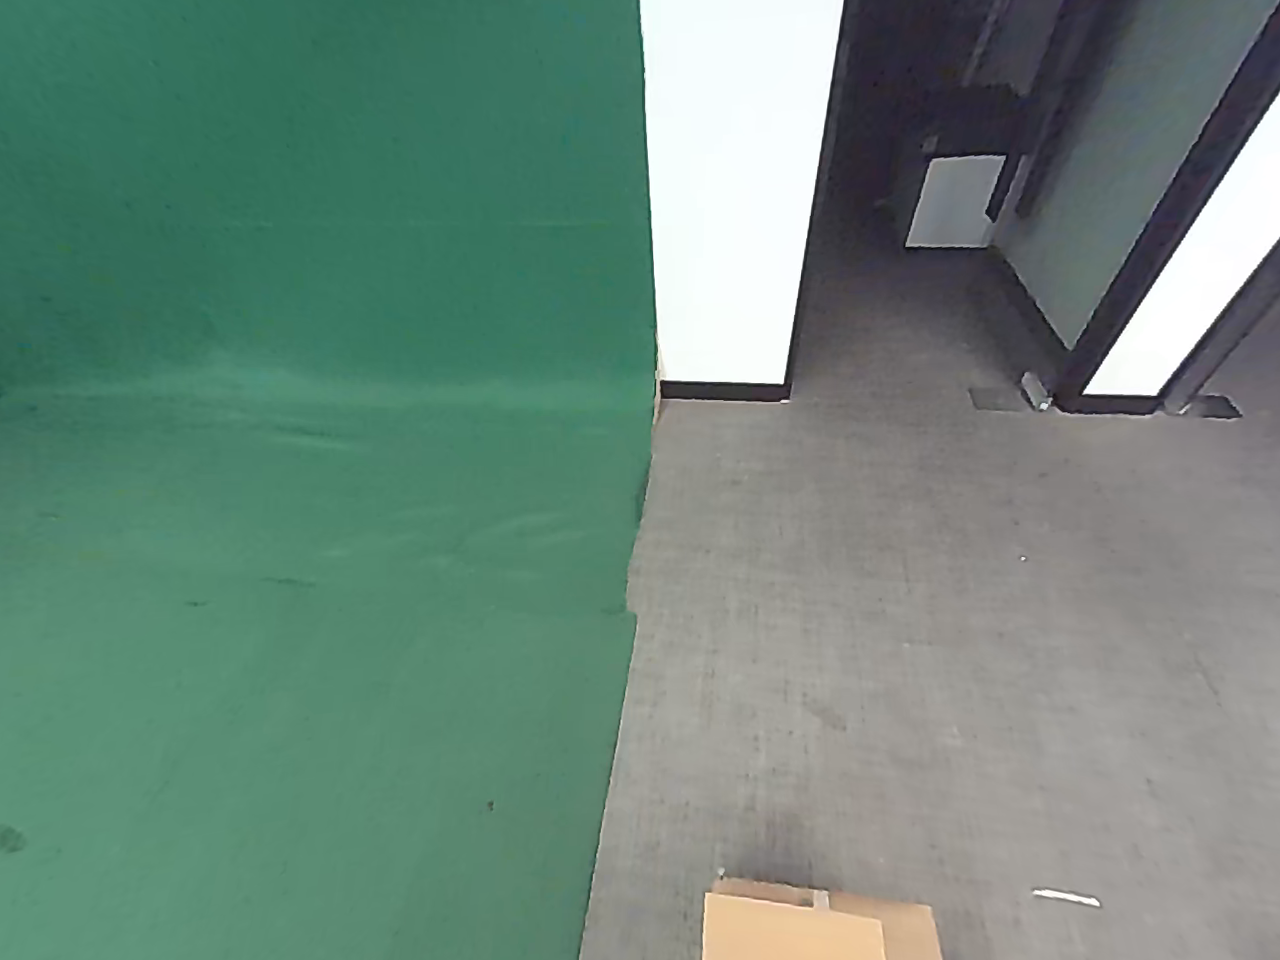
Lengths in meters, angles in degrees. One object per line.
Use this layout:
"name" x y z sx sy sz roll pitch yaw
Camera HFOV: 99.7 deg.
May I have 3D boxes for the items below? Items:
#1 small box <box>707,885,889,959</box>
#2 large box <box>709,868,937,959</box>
"small box" 0.146 0.523 0.523 0.168 0.176 0.179 0 46 10
"large box" 0.255 0.843 0.776 0.320 0.320 0.408 2 46 8
